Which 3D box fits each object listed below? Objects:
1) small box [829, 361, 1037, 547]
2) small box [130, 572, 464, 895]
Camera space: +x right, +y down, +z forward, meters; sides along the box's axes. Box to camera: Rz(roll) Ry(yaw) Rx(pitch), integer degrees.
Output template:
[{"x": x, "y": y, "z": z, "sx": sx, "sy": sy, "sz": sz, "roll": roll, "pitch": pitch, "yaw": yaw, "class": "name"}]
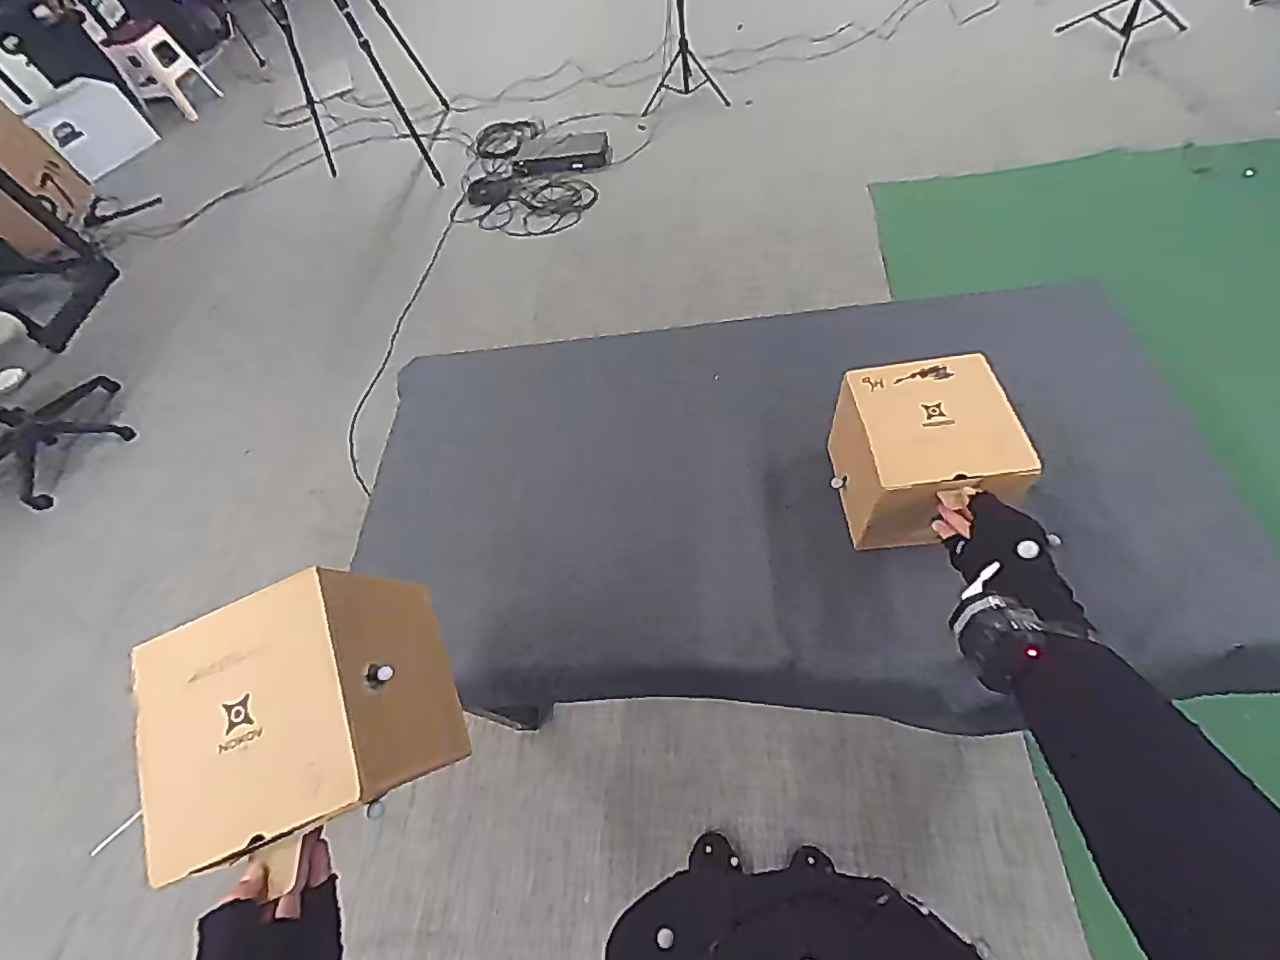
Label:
[{"x": 0.352, "y": -0.023, "z": 0.692, "sx": 0.168, "sy": 0.176, "sz": 0.179, "roll": -6, "pitch": 59, "yaw": 6, "class": "small box"}, {"x": -0.276, "y": 0.198, "z": 0.465, "sx": 0.168, "sy": 0.176, "sz": 0.179, "roll": -24, "pitch": 70, "yaw": 1, "class": "small box"}]
